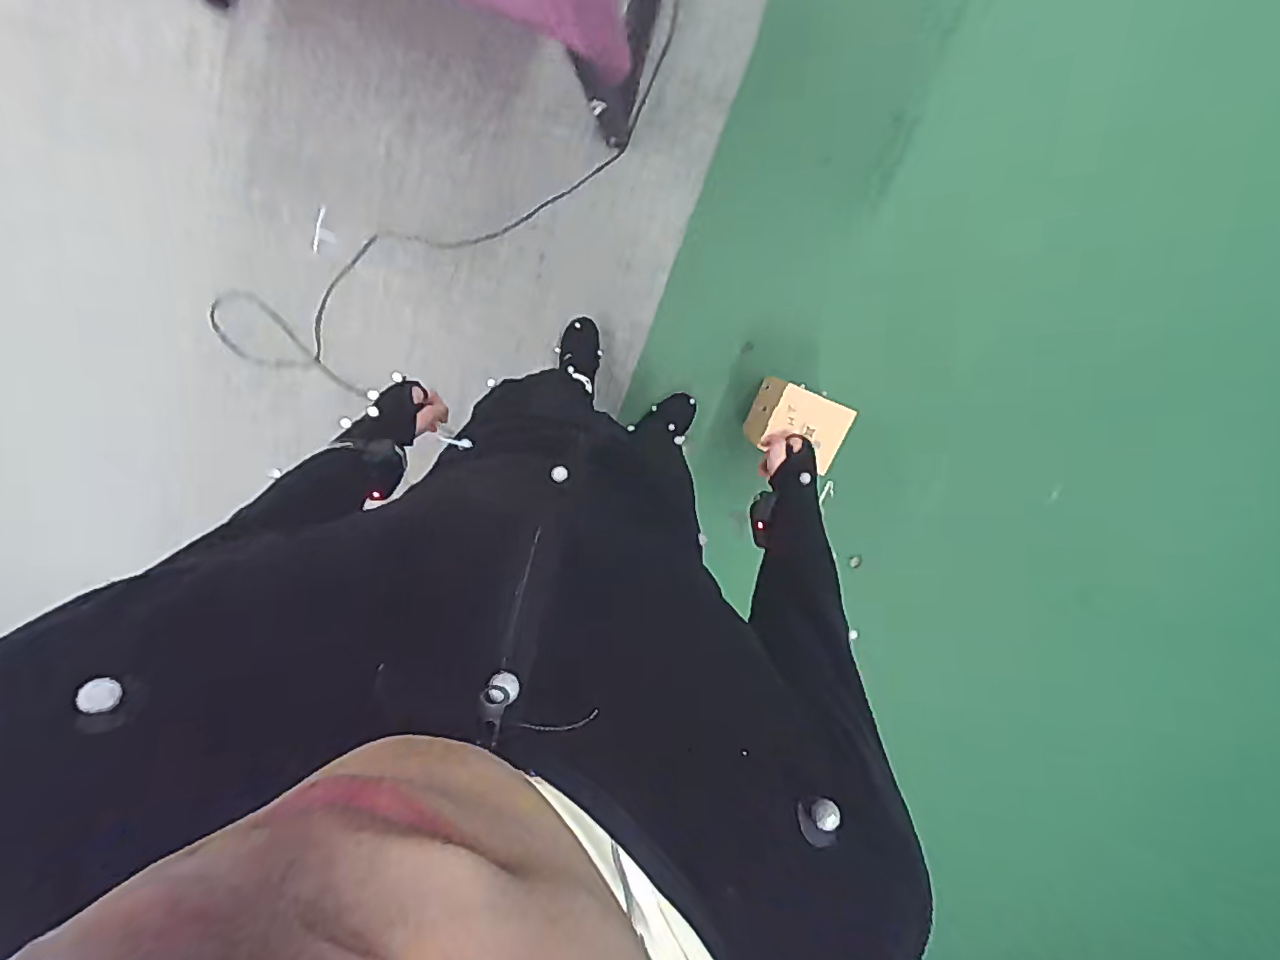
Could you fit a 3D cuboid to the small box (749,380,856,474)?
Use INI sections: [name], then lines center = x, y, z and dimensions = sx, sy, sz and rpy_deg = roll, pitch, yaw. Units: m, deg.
[small box]
center = 0.386, -0.137, 1.315
dimensions = 0.179, 0.176, 0.168
rpy_deg = 24, 104, -2
